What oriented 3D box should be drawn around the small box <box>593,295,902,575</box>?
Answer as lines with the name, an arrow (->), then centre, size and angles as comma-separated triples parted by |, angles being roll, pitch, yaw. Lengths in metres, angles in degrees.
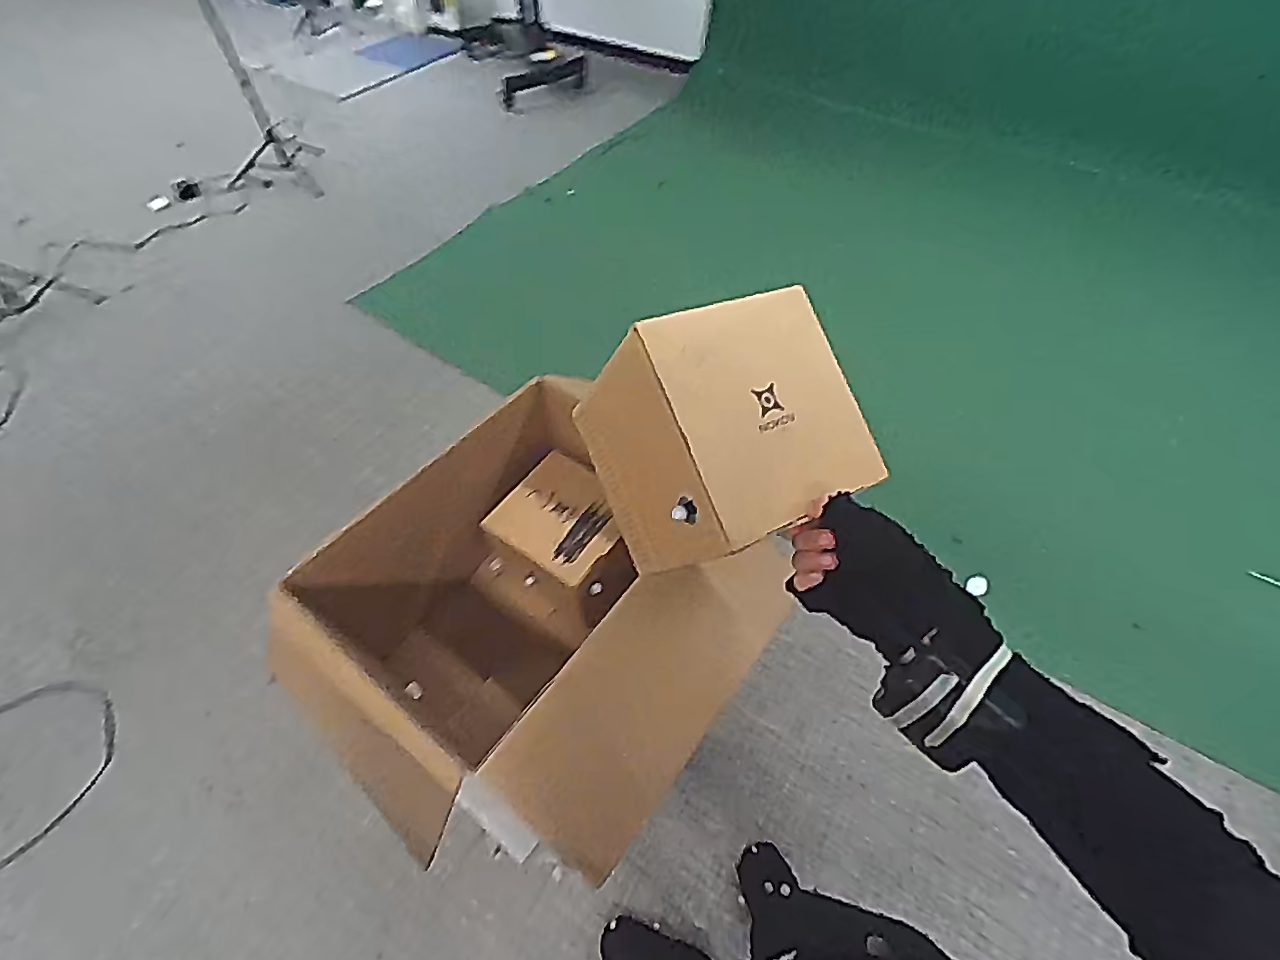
small box -> 0.079, -0.031, 0.475 | 0.168, 0.176, 0.179 | -20, 84, -26
